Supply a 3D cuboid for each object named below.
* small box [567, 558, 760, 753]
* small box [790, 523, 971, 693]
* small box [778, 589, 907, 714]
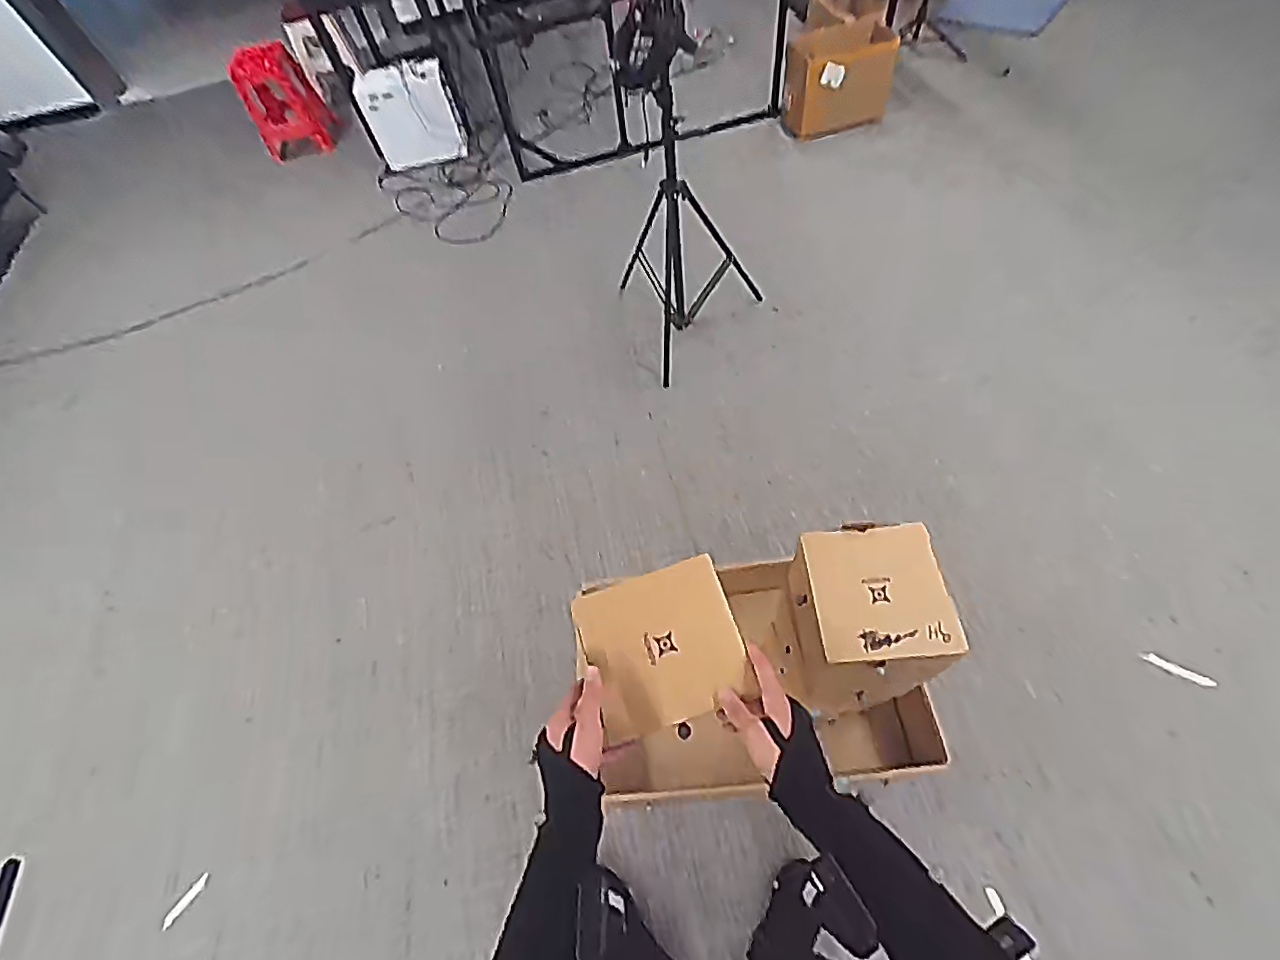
[{"bbox_3d":[0.030,0.214,0.667,0.179,0.176,0.168,-20,67,0],"label":"small box"},{"bbox_3d":[0.307,0.179,0.737,0.168,0.176,0.179,-6,57,6],"label":"small box"},{"bbox_3d":[0.327,0.269,0.874,0.179,0.176,0.168,-11,58,2],"label":"small box"}]
